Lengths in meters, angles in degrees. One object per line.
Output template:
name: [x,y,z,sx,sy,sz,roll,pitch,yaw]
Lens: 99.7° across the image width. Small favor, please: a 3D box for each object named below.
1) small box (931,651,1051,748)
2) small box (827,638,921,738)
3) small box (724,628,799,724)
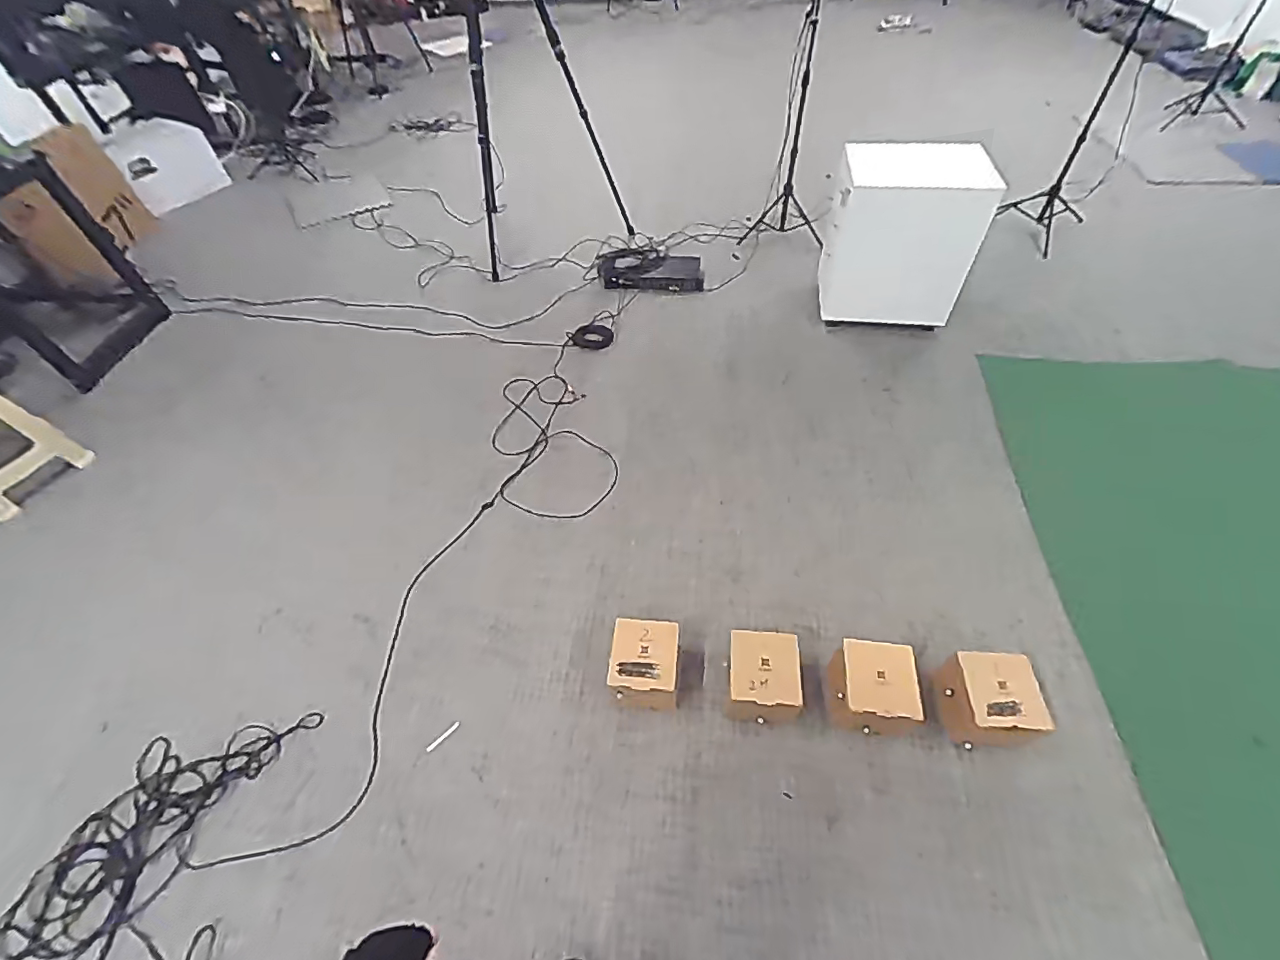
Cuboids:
small box: [0.833,0.532,1.304,0.168,0.176,0.179,3,51,5]
small box: [0.566,0.514,1.335,0.168,0.176,0.179,5,52,7]
small box: [0.300,0.495,1.363,0.168,0.176,0.179,3,52,7]
